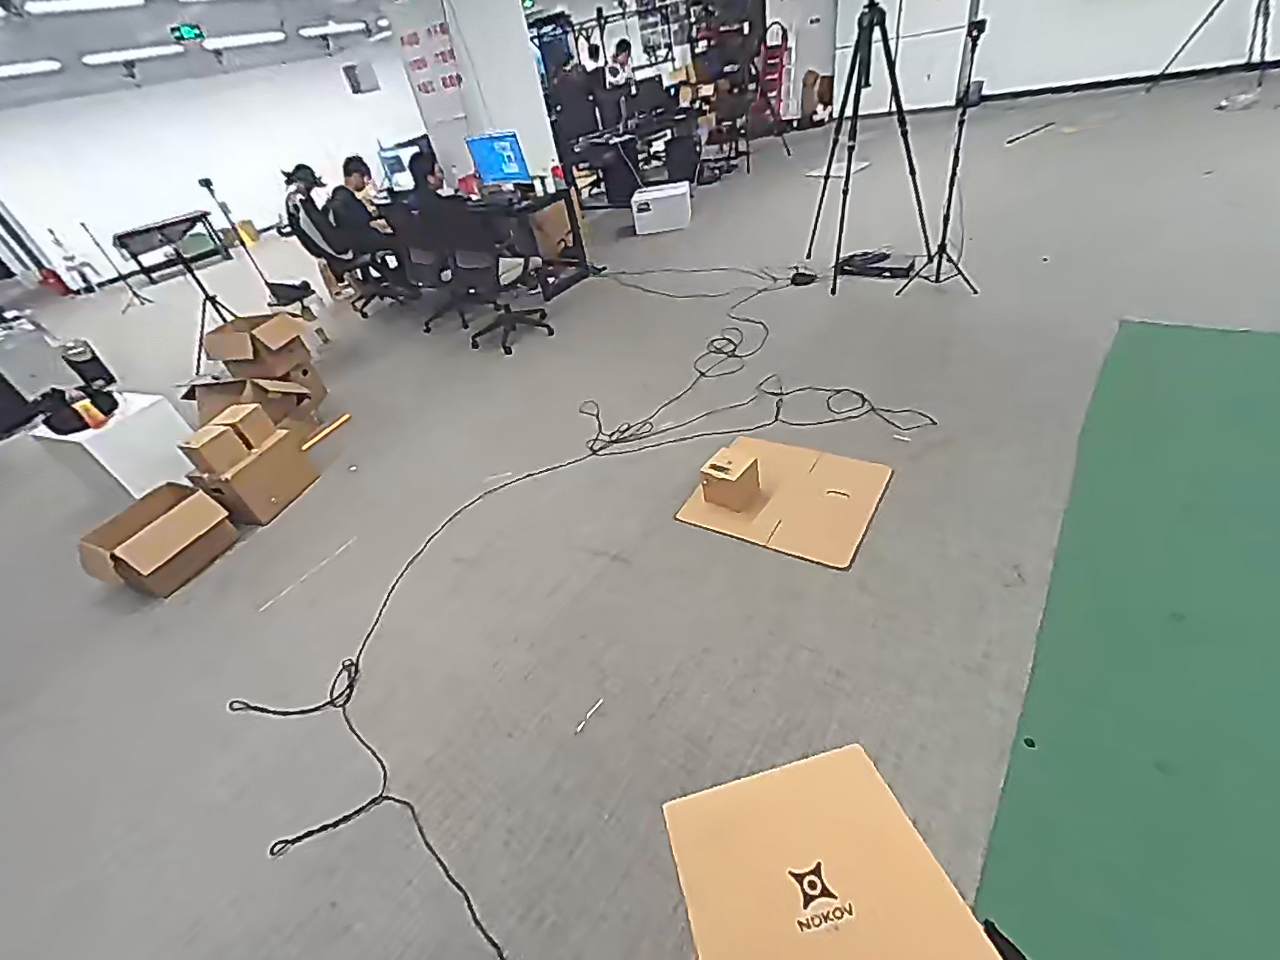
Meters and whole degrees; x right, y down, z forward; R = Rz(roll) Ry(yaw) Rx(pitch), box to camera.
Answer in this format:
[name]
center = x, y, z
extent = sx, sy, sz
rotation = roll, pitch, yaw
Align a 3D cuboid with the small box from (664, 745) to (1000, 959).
[small box]
center = 0.124, 0.334, 0.380
extent = 0.168, 0.176, 0.179
rotation = -14, 26, -6
